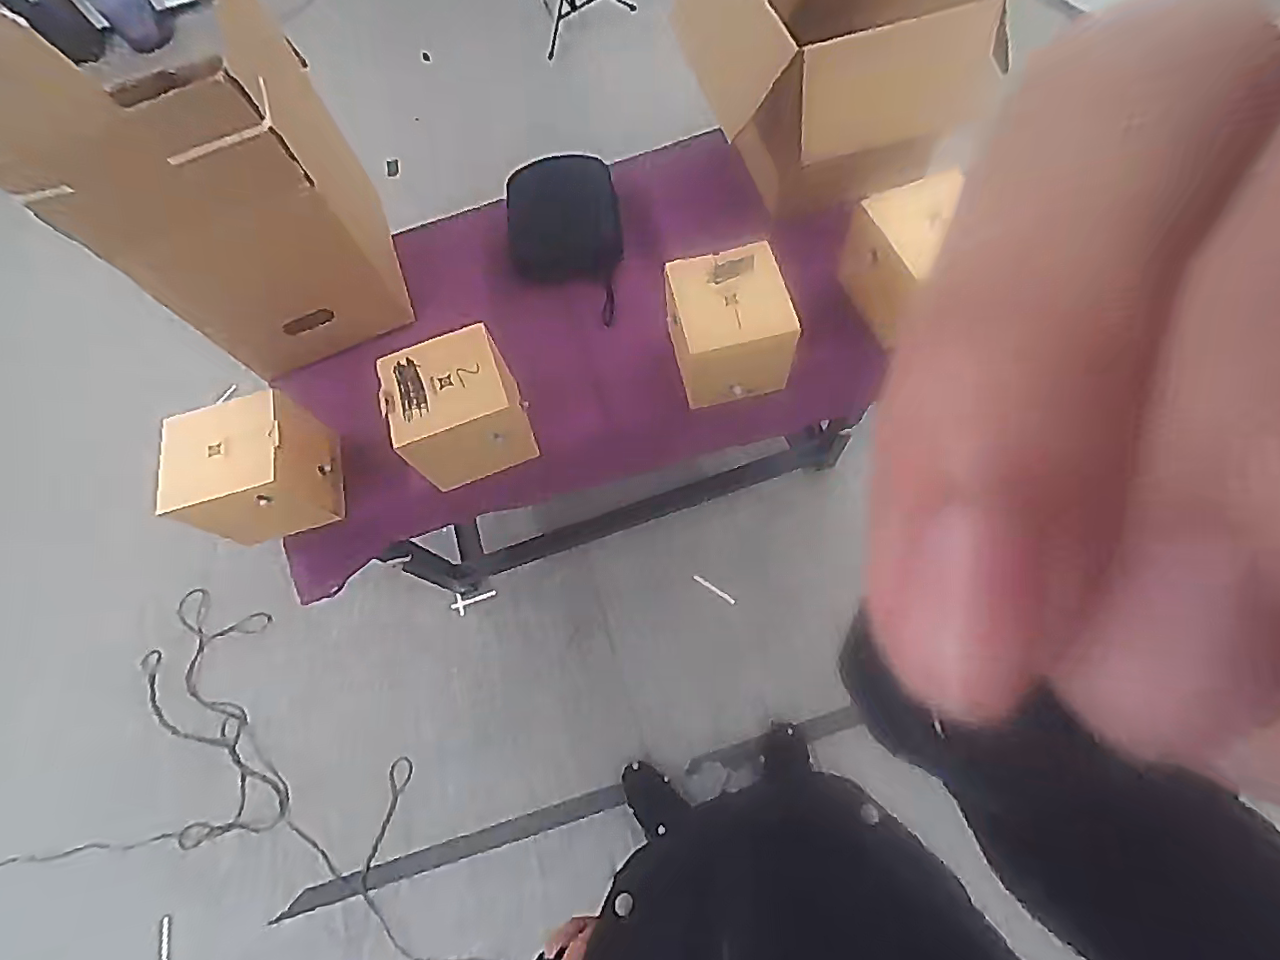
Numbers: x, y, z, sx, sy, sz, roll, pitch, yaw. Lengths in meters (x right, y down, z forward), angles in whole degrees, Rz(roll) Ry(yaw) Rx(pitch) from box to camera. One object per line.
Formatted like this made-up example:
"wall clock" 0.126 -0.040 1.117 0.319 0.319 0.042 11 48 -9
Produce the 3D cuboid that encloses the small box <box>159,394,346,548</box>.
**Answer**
"small box" -0.608 -0.006 0.867 0.179 0.176 0.168 -17 67 -2

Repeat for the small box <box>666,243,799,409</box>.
"small box" 0.140 -0.243 0.880 0.168 0.176 0.179 -13 68 1

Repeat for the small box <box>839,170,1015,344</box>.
"small box" 0.452 -0.359 0.889 0.168 0.176 0.179 -20 67 -1
